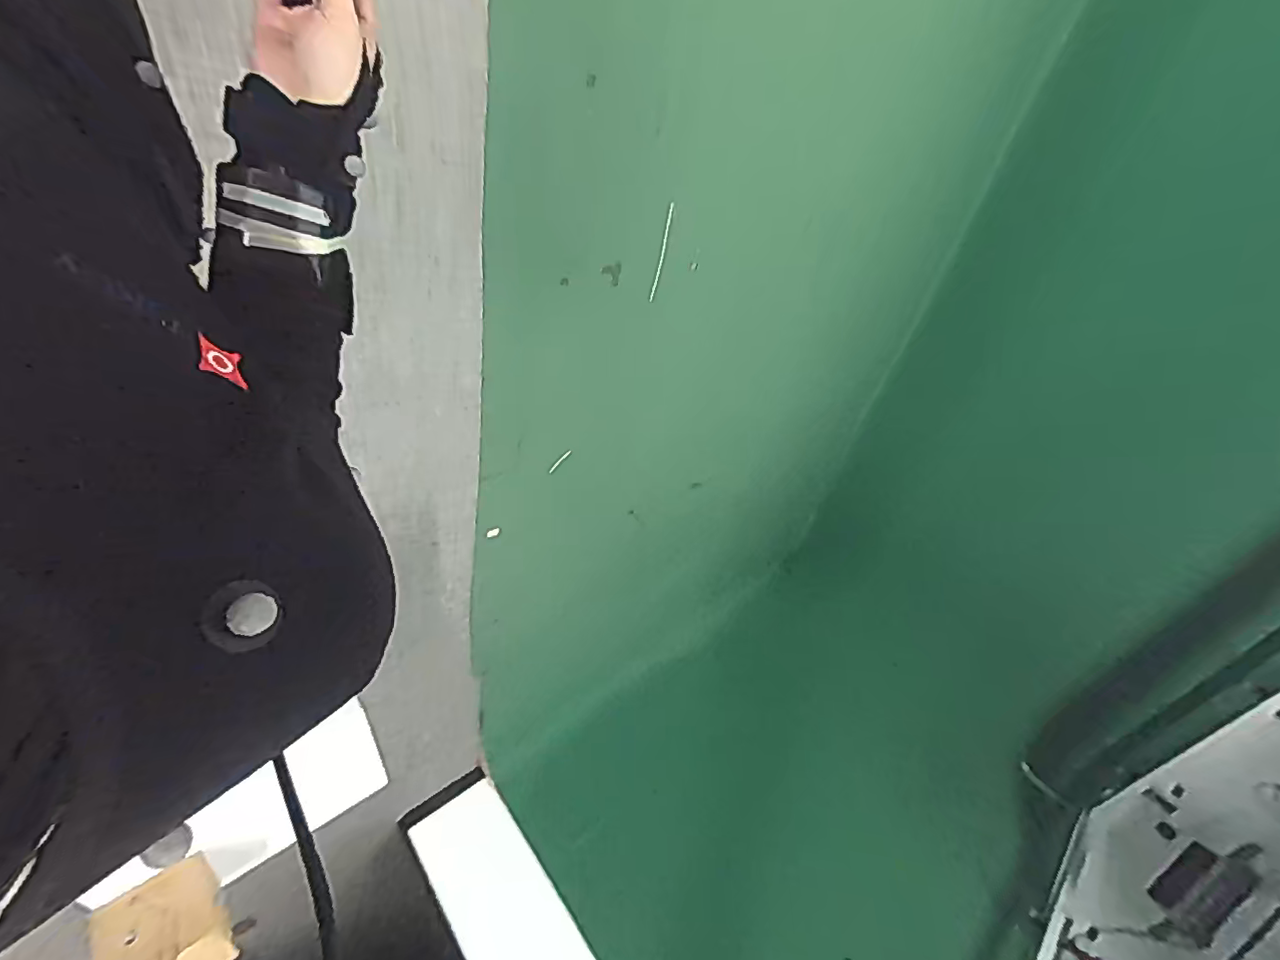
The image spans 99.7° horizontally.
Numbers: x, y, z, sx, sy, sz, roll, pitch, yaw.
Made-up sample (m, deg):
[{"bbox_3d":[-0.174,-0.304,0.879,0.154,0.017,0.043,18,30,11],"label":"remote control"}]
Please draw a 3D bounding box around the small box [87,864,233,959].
[{"bbox_3d":[-0.925,0.896,1.046,0.168,0.176,0.179,-20,138,-38],"label":"small box"}]
